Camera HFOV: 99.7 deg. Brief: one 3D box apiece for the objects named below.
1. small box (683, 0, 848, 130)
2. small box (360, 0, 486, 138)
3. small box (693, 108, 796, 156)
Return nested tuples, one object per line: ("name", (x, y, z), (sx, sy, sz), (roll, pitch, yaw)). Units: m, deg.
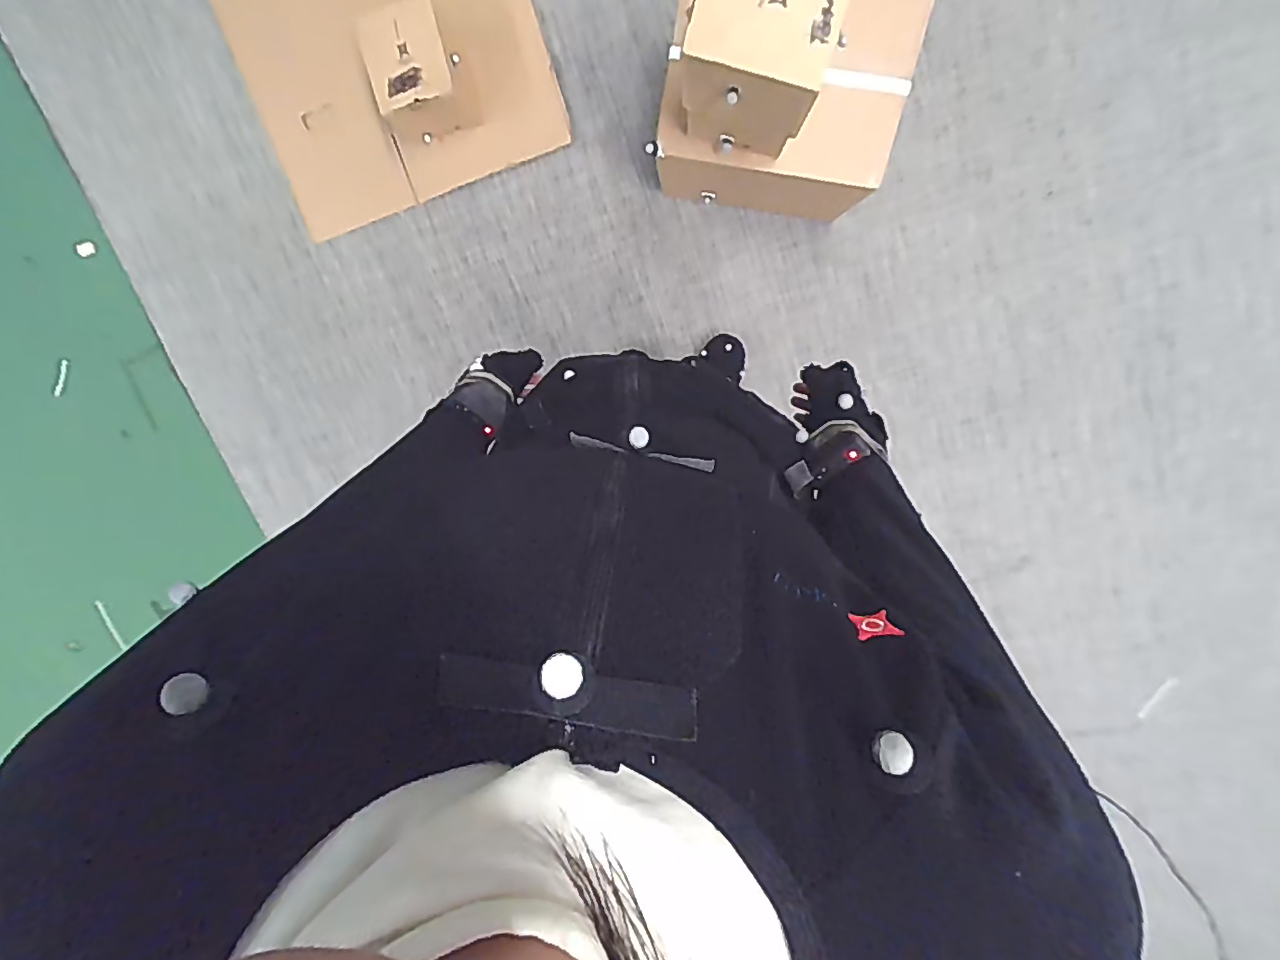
("small box", (0.160, -0.582, 0.695), (0.179, 0.176, 0.168), (14, 105, 2))
("small box", (-0.449, -0.858, 1.150), (0.168, 0.176, 0.179), (-11, 102, 9))
("small box", (0.178, -0.640, 0.846), (0.168, 0.176, 0.179), (13, 108, 3))
